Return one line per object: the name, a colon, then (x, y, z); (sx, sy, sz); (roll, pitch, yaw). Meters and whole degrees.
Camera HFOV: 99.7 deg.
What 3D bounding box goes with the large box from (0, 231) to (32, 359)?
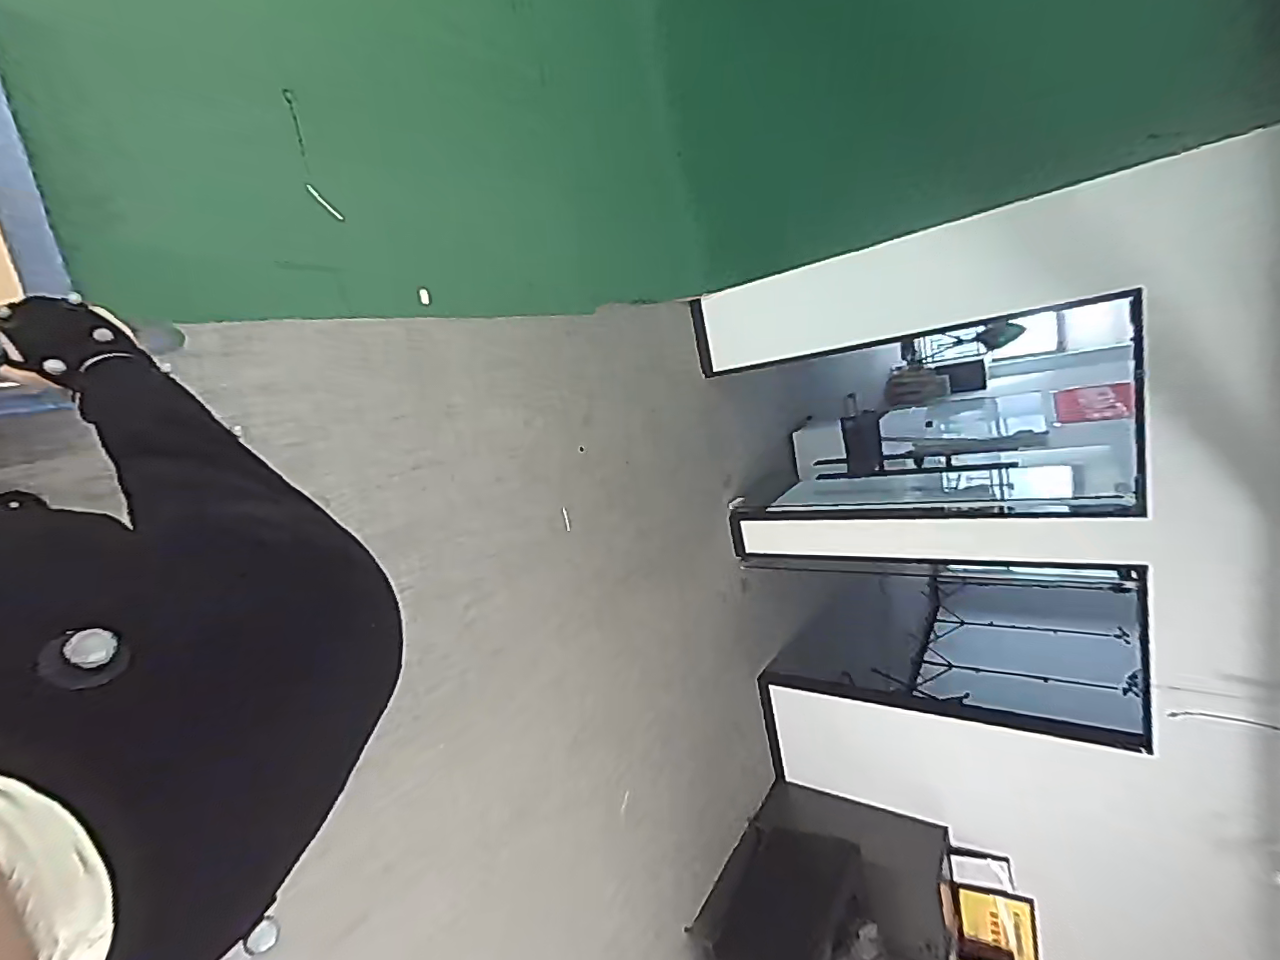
large box: (-1.168, -0.382, 0.760); (0.320, 0.320, 0.408); (-24, 105, -52)
